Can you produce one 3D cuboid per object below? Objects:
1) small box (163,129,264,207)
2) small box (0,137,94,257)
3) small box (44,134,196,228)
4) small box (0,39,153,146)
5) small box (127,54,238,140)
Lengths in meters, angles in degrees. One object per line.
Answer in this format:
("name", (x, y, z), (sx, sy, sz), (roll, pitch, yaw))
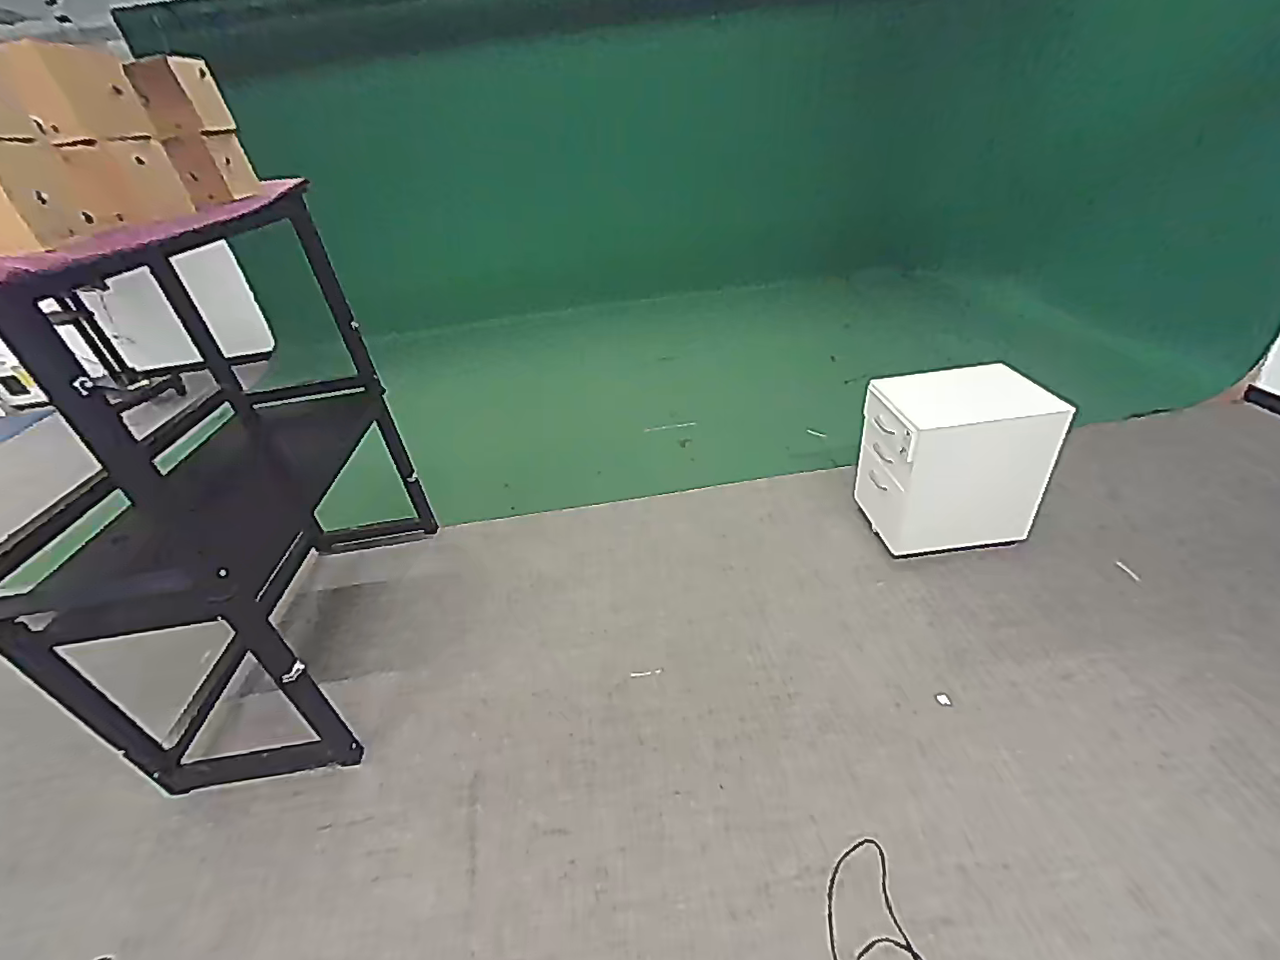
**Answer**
("small box", (-1.241, -0.901, 1.567), (0.168, 0.176, 0.179), (-10, 36, 1))
("small box", (-1.116, -0.479, 0.926), (0.179, 0.176, 0.168), (-15, 33, -12))
("small box", (-1.194, -0.691, 1.254), (0.168, 0.176, 0.179), (-8, 33, 0))
("small box", (-1.211, -0.821, 1.159), (0.168, 0.176, 0.179), (-3, 35, 8))
("small box", (-1.252, -1.035, 1.473), (0.168, 0.176, 0.179), (-10, 35, 1))
